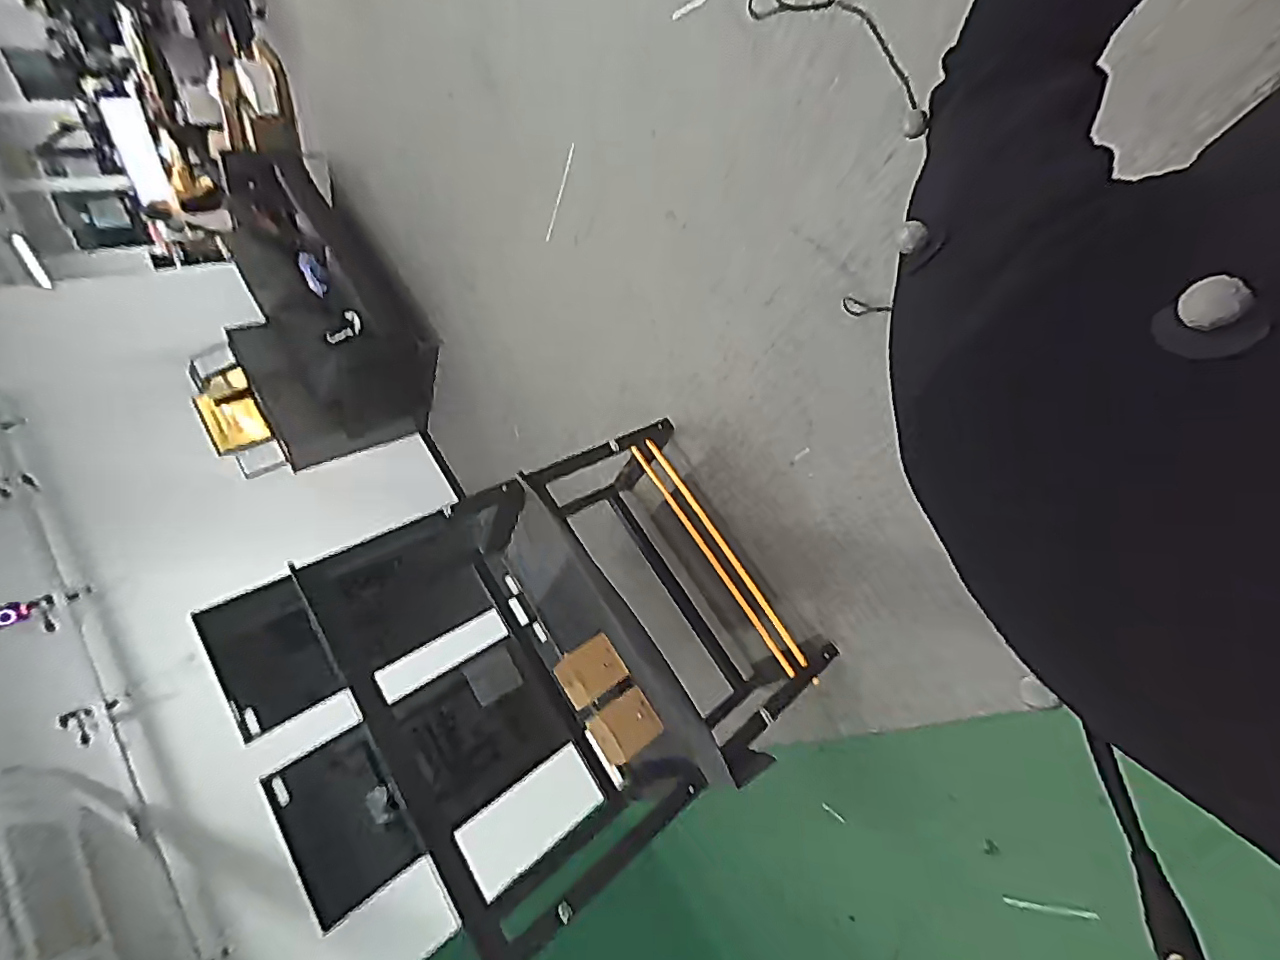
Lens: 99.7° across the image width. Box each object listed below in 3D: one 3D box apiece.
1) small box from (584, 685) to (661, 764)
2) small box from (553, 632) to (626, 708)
[{"bbox_3d":[-0.057,0.809,1.793,0.168,0.176,0.179,54,144,15],"label":"small box"},{"bbox_3d":[-0.171,0.649,1.850,0.168,0.176,0.179,54,144,15],"label":"small box"}]
